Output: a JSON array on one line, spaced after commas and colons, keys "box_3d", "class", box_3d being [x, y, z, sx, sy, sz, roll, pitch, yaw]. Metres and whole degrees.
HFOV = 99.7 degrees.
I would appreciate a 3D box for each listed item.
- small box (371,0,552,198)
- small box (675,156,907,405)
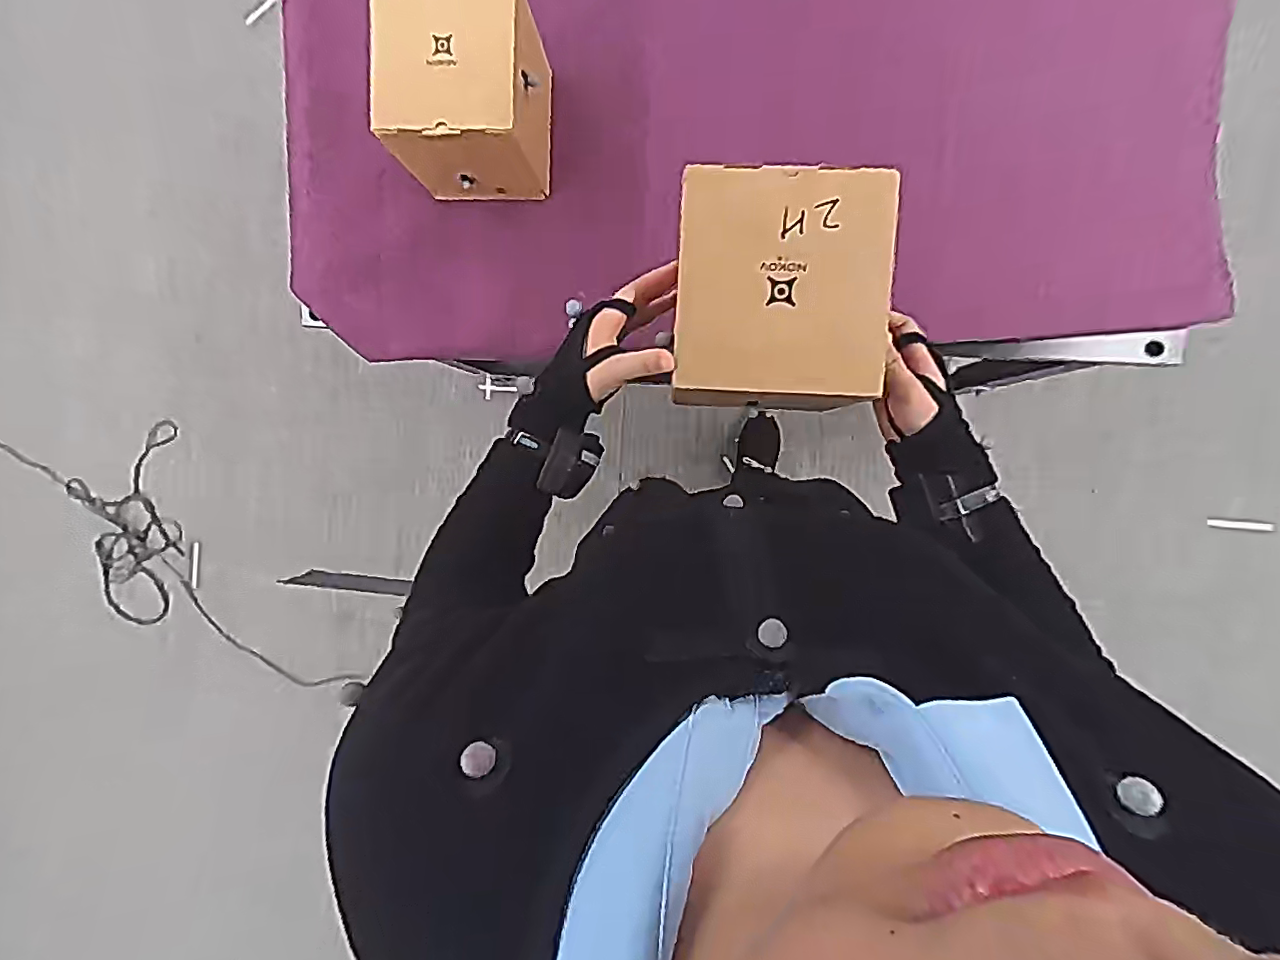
[{"box_3d": [-0.210, -0.480, 0.674, 0.168, 0.176, 0.179, 2, 95, 4], "class": "small box"}, {"box_3d": [0.120, -0.163, 0.495, 0.168, 0.176, 0.179, 3, 93, 3], "class": "small box"}]
